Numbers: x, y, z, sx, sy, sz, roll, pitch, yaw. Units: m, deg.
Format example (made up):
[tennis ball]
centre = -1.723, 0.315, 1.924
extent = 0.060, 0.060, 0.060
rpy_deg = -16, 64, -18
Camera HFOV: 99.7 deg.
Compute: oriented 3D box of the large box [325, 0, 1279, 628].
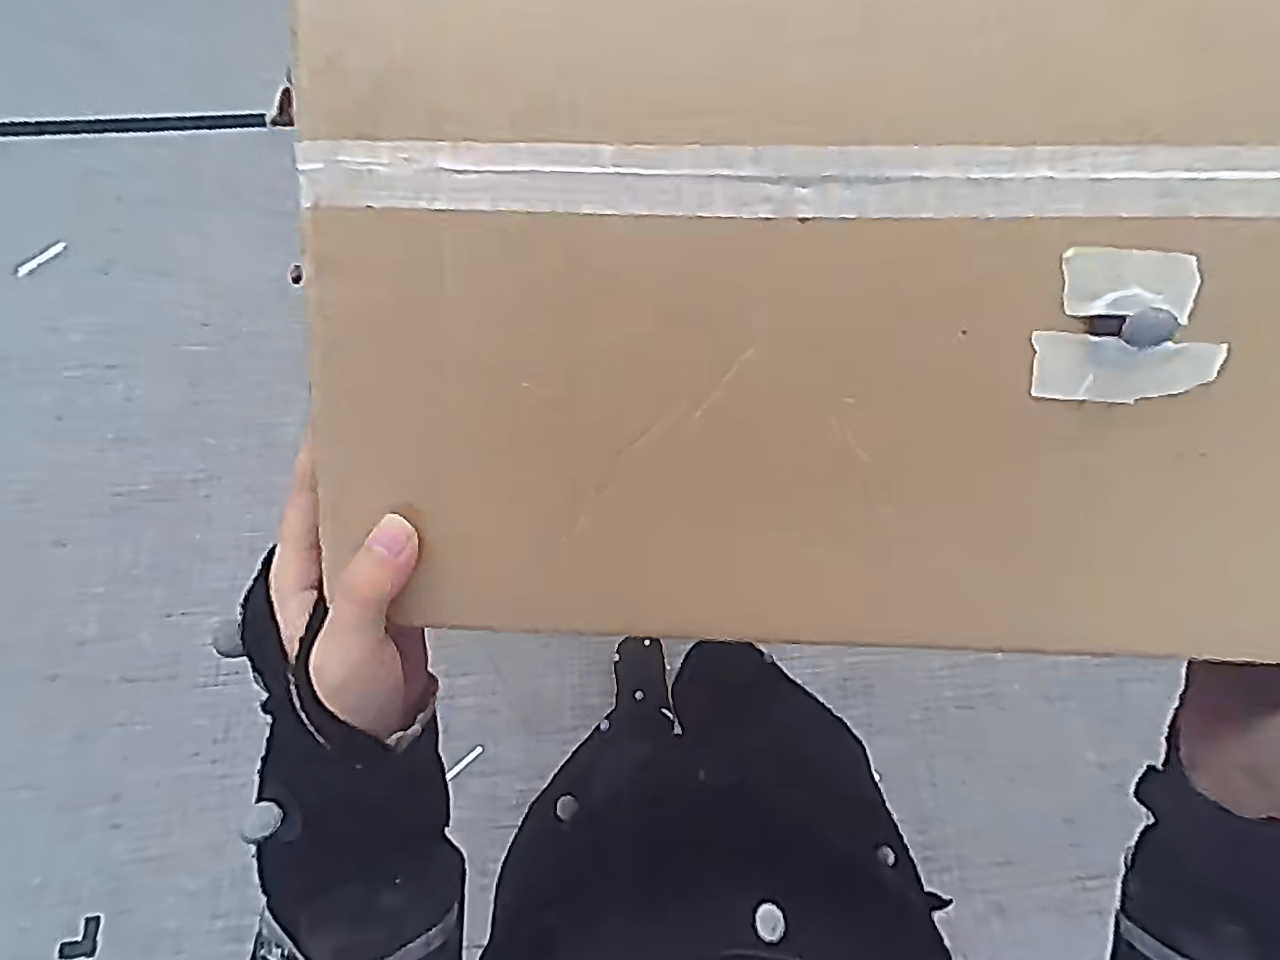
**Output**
[large box]
centre = 0.090, -0.113, 0.336
extent = 0.408, 0.320, 0.320
rpy_deg = 1, 97, 1
